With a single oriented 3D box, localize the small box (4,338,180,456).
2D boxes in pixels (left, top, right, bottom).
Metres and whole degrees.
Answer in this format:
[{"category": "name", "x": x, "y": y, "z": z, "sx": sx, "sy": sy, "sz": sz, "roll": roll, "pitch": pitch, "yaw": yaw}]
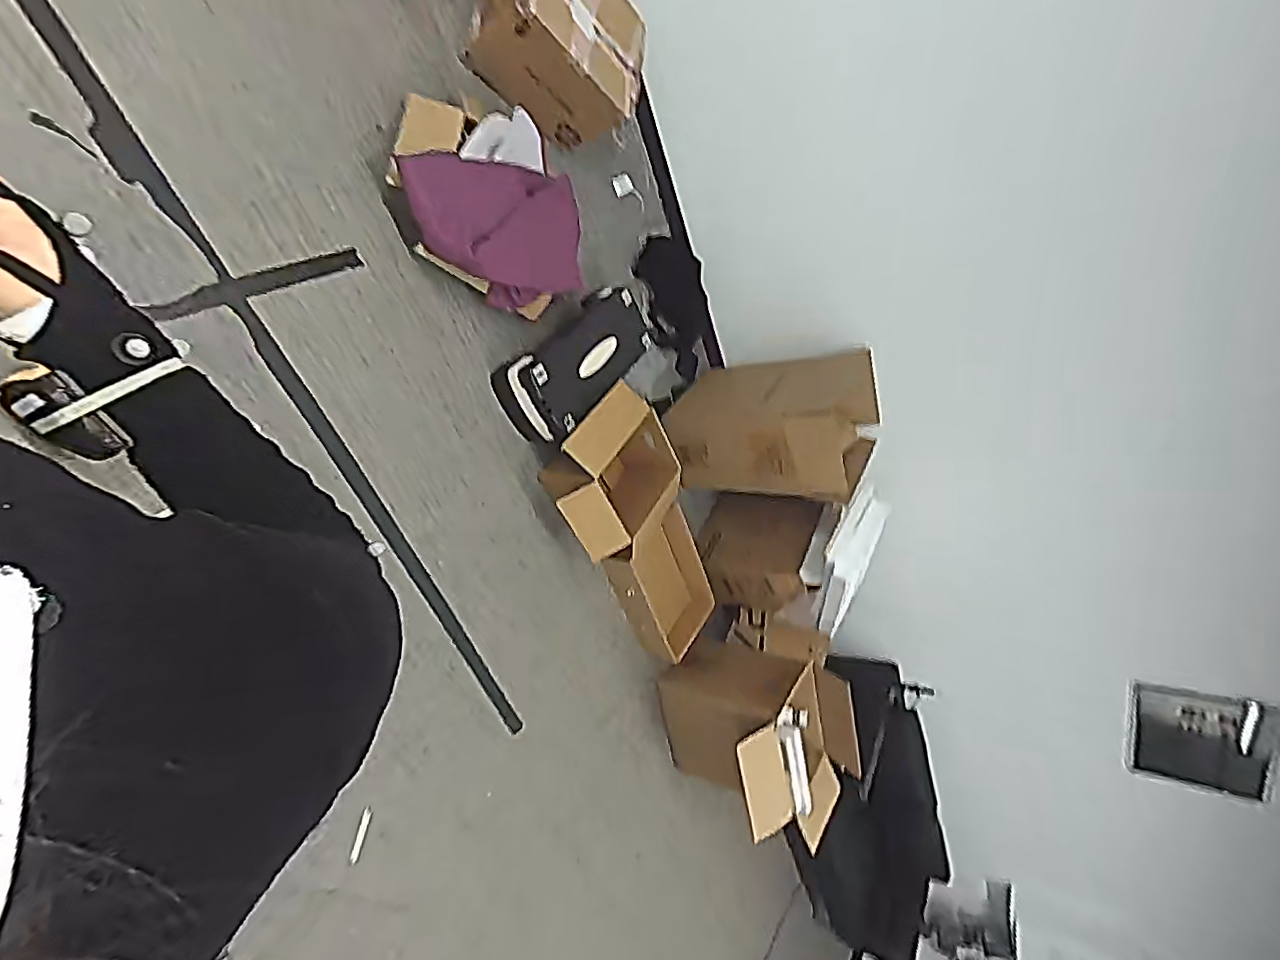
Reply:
[{"category": "small box", "x": -1.046, "y": -0.155, "z": 1.039, "sx": 0.179, "sy": 0.176, "sz": 0.168, "roll": -44, "pitch": 123, "yaw": -40}]
